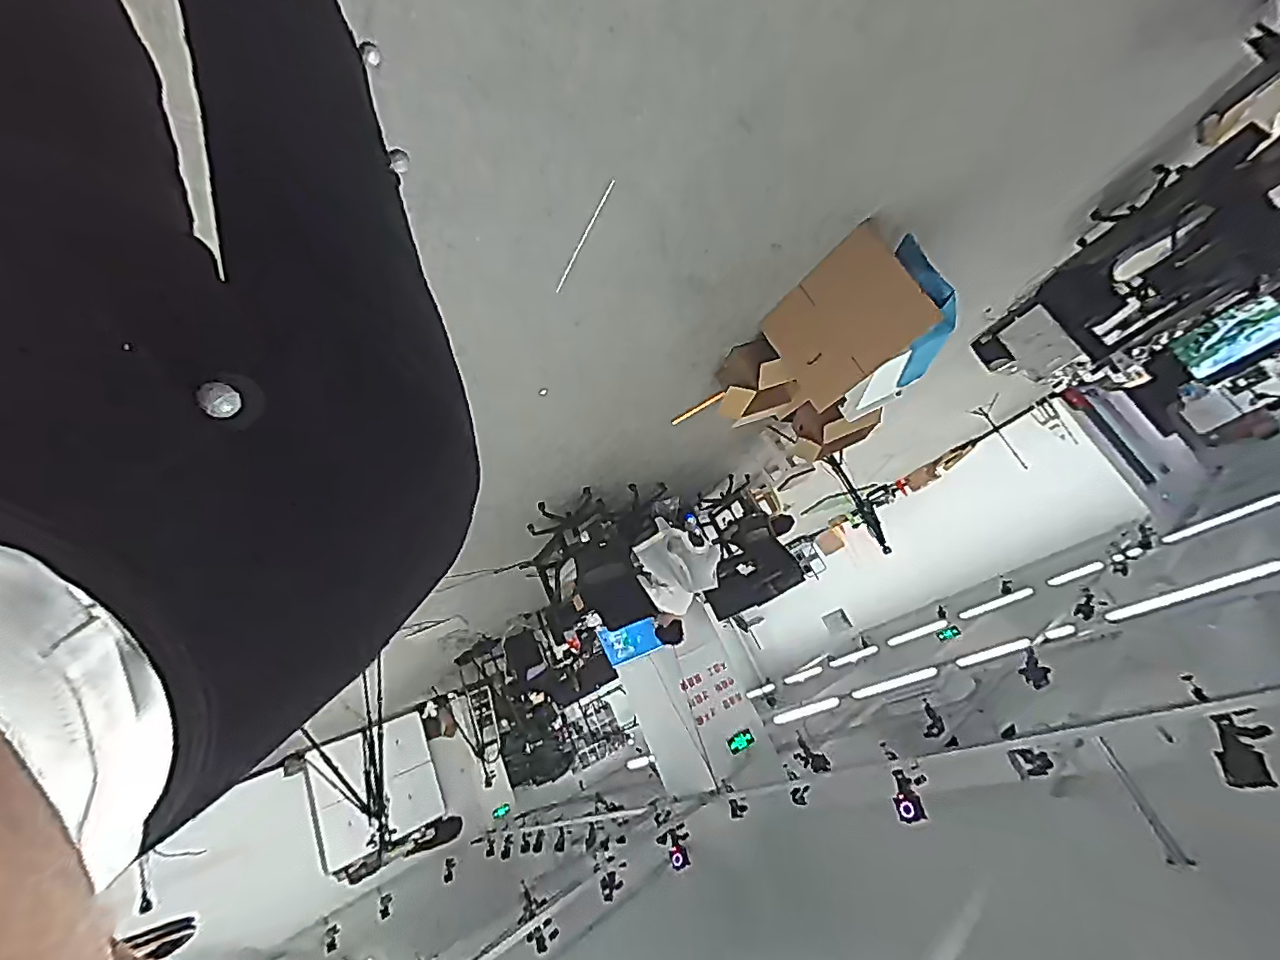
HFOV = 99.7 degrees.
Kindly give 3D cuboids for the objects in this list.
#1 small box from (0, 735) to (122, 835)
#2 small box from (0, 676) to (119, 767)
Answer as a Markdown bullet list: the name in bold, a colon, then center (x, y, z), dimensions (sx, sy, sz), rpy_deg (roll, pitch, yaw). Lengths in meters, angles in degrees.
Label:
- **small box**: center (-1.564, 0.807, 1.458), dimensions (0.179, 0.176, 0.168), rpy_deg (-29, 159, 5)
- **small box**: center (-1.627, 0.667, 1.512), dimensions (0.168, 0.176, 0.179), rpy_deg (-28, 161, 6)
